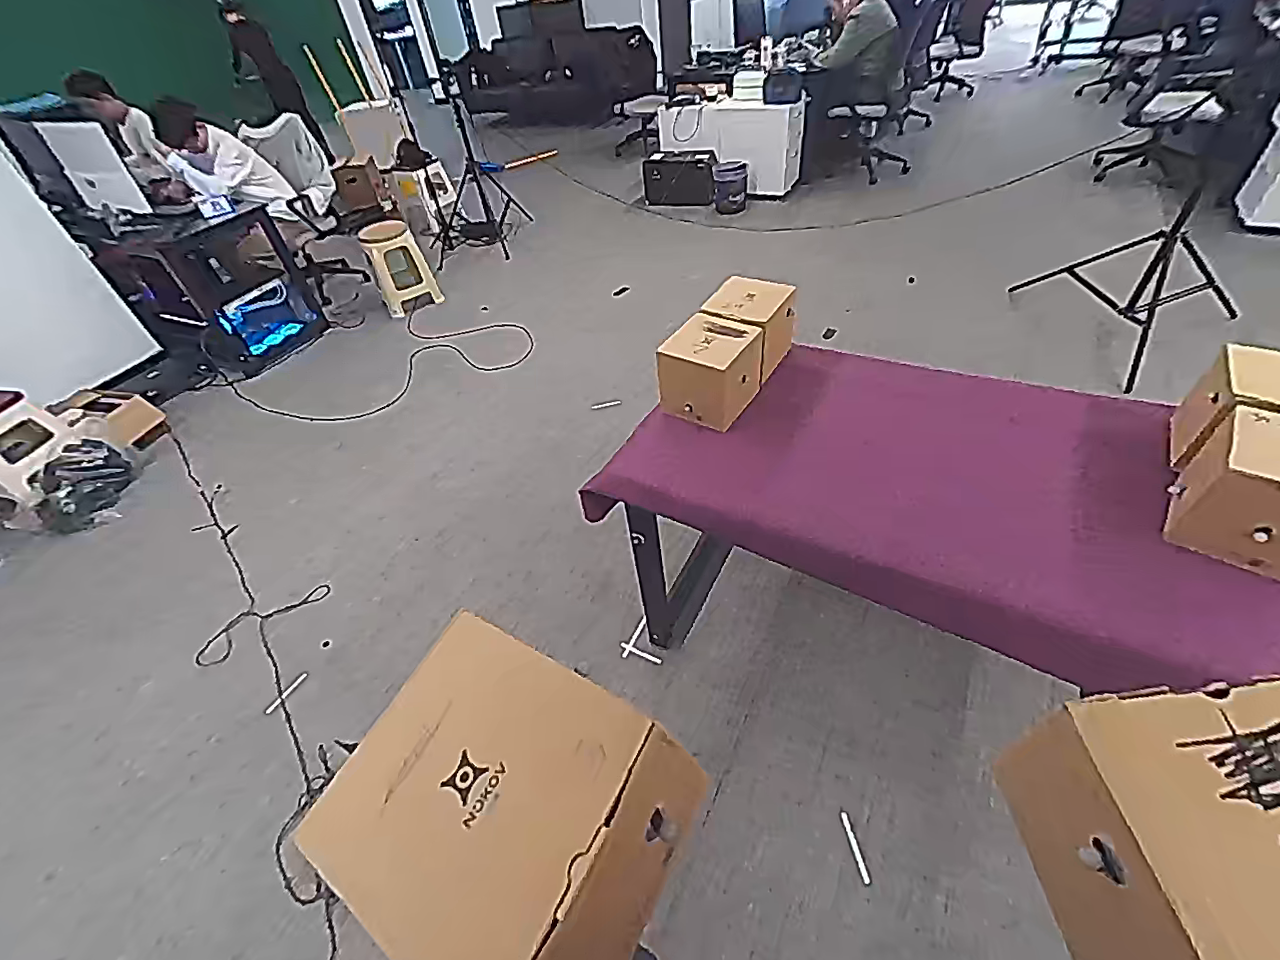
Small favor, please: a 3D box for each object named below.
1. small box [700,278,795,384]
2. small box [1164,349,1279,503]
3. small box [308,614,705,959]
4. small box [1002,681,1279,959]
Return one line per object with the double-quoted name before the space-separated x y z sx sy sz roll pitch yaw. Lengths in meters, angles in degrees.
"small box" 0.255 -0.360 1.305 0.168 0.176 0.179 22 53 27
"small box" 1.050 -0.095 0.929 0.168 0.176 0.179 22 51 26
"small box" -0.072 0.228 0.382 0.179 0.176 0.168 16 59 31
"small box" 0.359 0.240 0.325 0.168 0.176 0.179 -10 50 8
